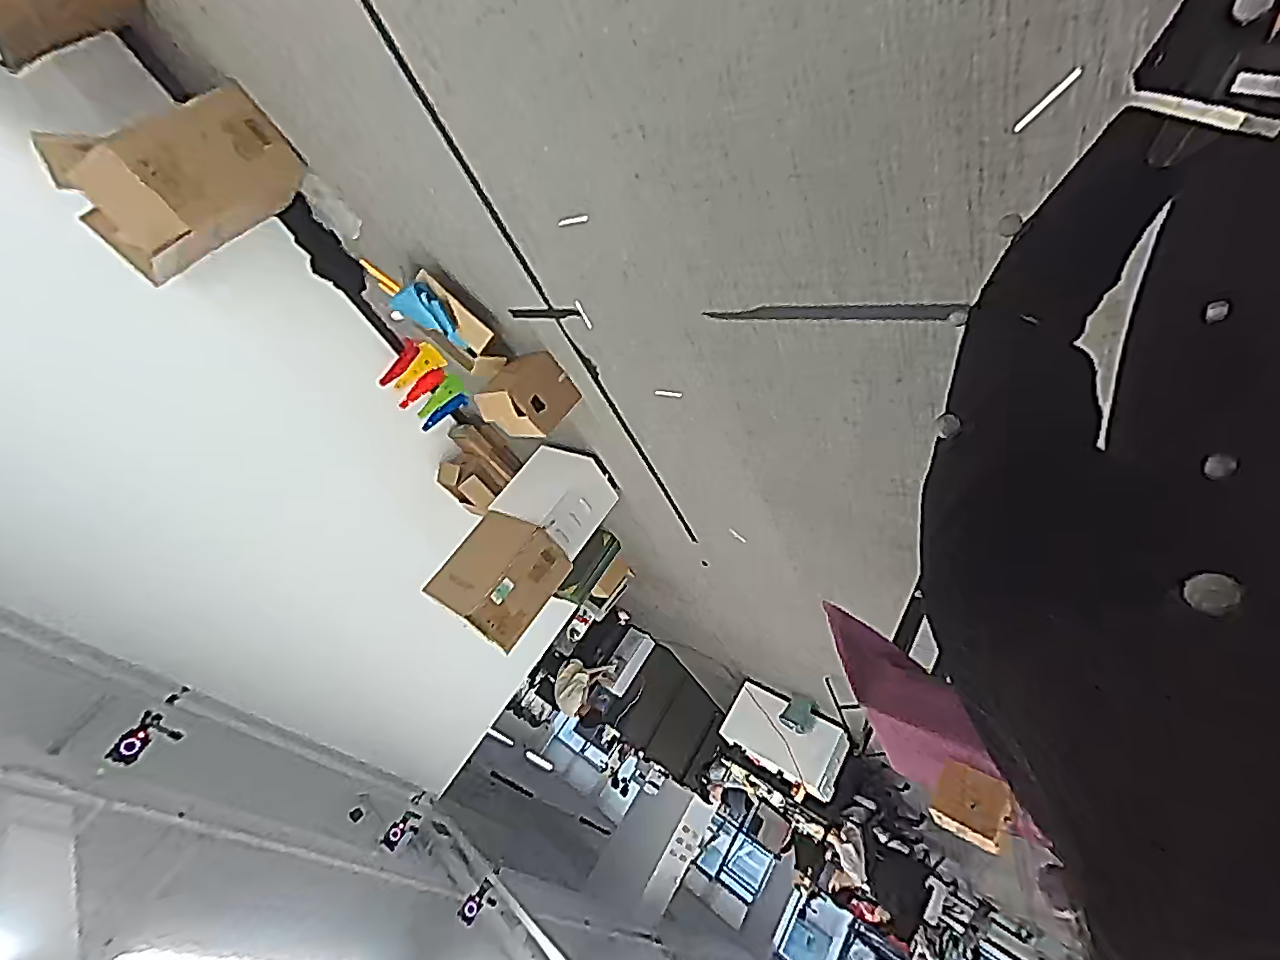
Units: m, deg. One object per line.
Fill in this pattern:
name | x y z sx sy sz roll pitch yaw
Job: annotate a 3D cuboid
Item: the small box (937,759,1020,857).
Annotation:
small box | 1.015 0.972 1.612 0.179 0.176 0.168 10 145 45
